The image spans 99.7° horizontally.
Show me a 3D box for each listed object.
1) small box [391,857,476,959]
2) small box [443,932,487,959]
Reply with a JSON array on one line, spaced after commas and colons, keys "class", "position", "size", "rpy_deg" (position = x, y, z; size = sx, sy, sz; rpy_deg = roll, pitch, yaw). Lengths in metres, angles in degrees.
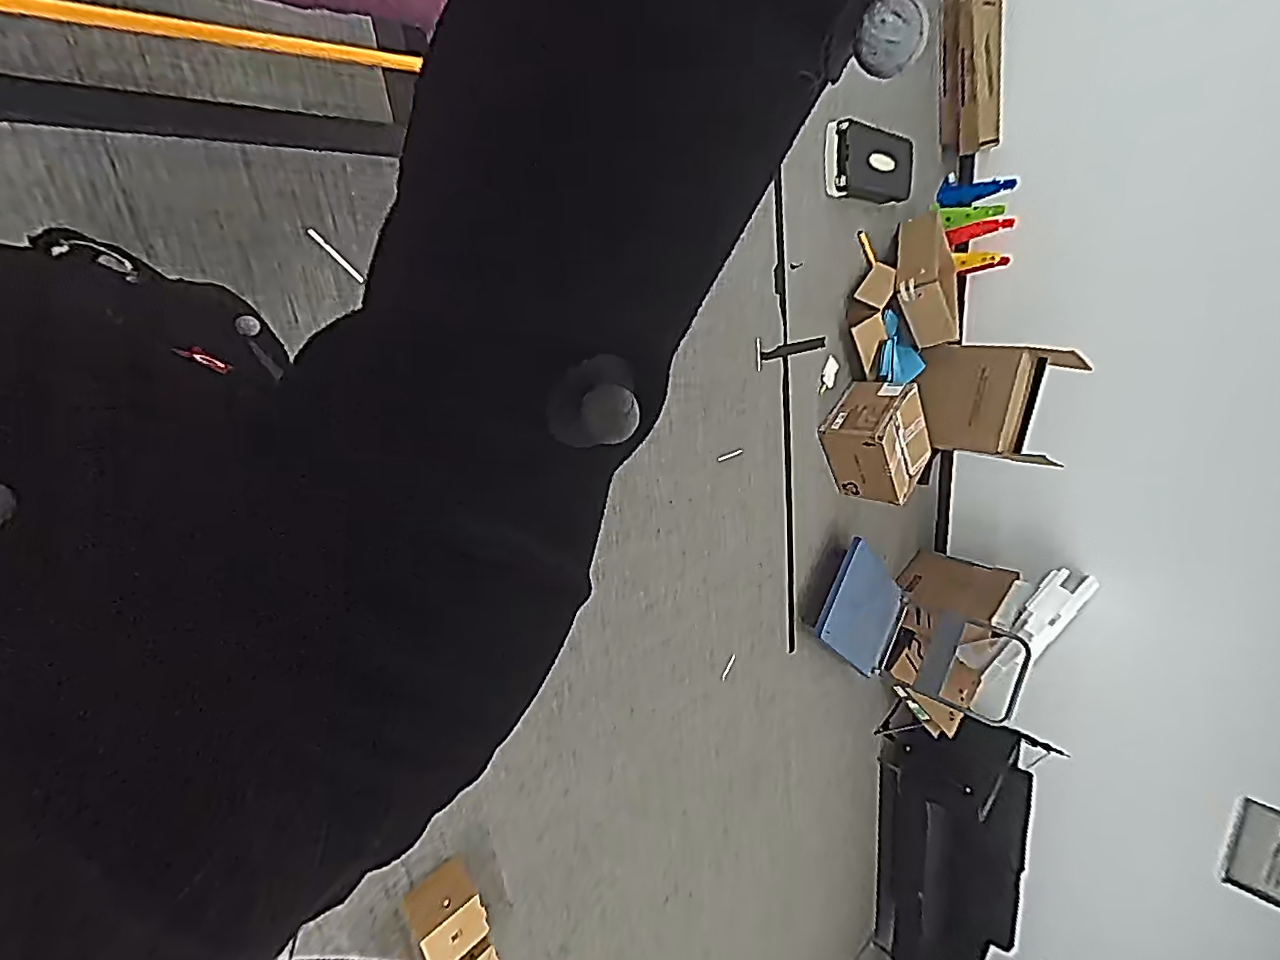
[{"class": "small box", "position": [-0.616, 1.282, 1.599], "size": [0.179, 0.176, 0.168], "rpy_deg": [-23, 115, -39]}, {"class": "small box", "position": [-0.585, 1.492, 1.670], "size": [0.168, 0.176, 0.179], "rpy_deg": [-25, 116, -38]}]
